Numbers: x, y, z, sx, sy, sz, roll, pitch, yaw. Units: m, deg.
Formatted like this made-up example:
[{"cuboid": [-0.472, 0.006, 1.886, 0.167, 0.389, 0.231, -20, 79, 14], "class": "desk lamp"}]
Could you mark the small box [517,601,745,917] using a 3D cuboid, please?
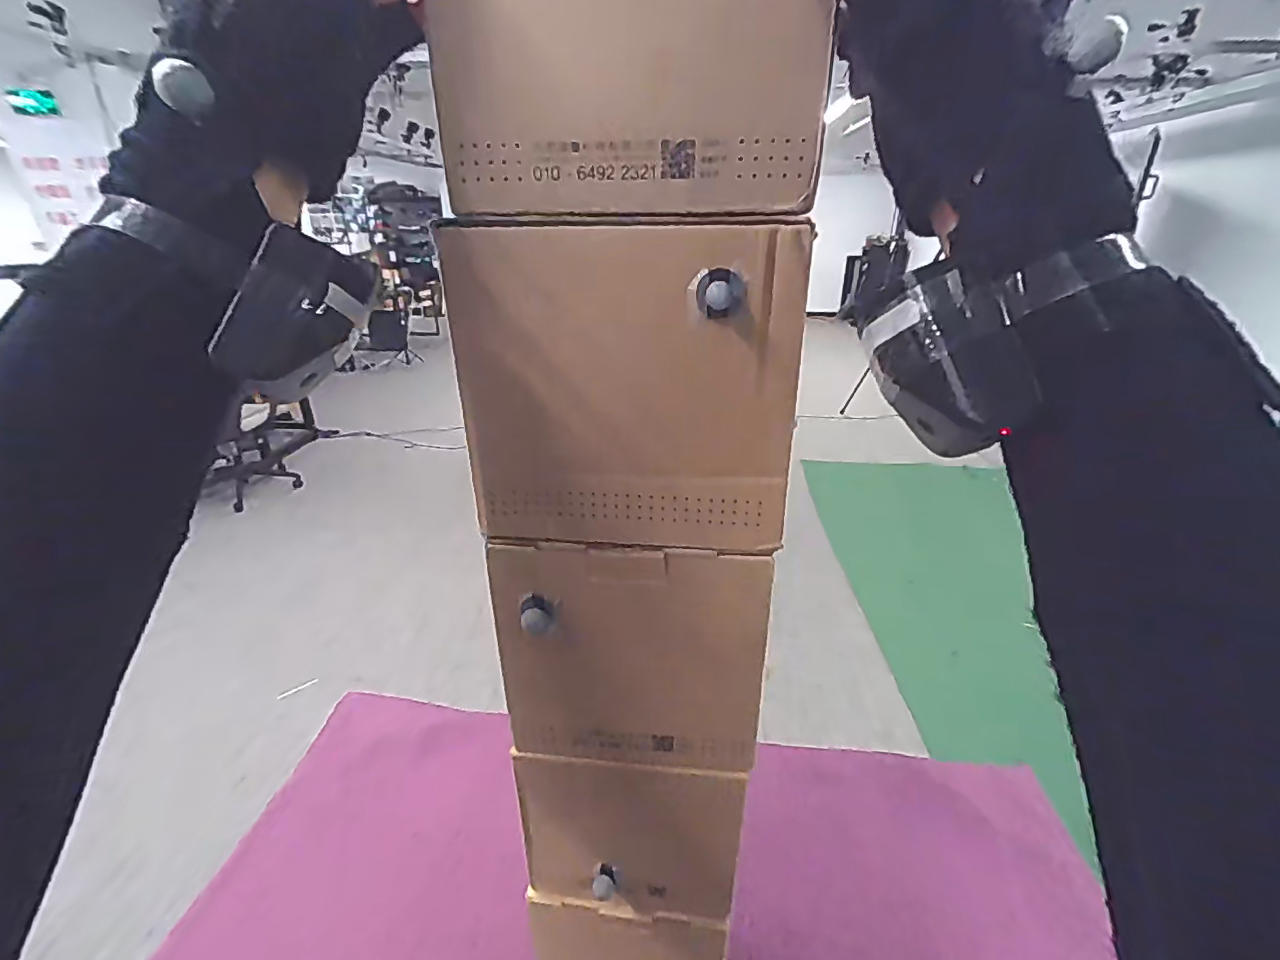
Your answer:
[{"cuboid": [0.001, 0.233, 0.481, 0.168, 0.176, 0.179, 3, 24, 7], "class": "small box"}]

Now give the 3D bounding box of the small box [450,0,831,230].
[{"cuboid": [0.002, -0.224, 0.298, 0.168, 0.176, 0.179, 0, 23, 4], "class": "small box"}]

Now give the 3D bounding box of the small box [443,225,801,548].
[{"cuboid": [-0.002, -0.068, 0.355, 0.179, 0.176, 0.168, 3, 23, 6], "class": "small box"}]

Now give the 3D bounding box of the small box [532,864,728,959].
[{"cuboid": [0.000, 0.384, 0.544, 0.168, 0.176, 0.179, 3, 25, 7], "class": "small box"}]
